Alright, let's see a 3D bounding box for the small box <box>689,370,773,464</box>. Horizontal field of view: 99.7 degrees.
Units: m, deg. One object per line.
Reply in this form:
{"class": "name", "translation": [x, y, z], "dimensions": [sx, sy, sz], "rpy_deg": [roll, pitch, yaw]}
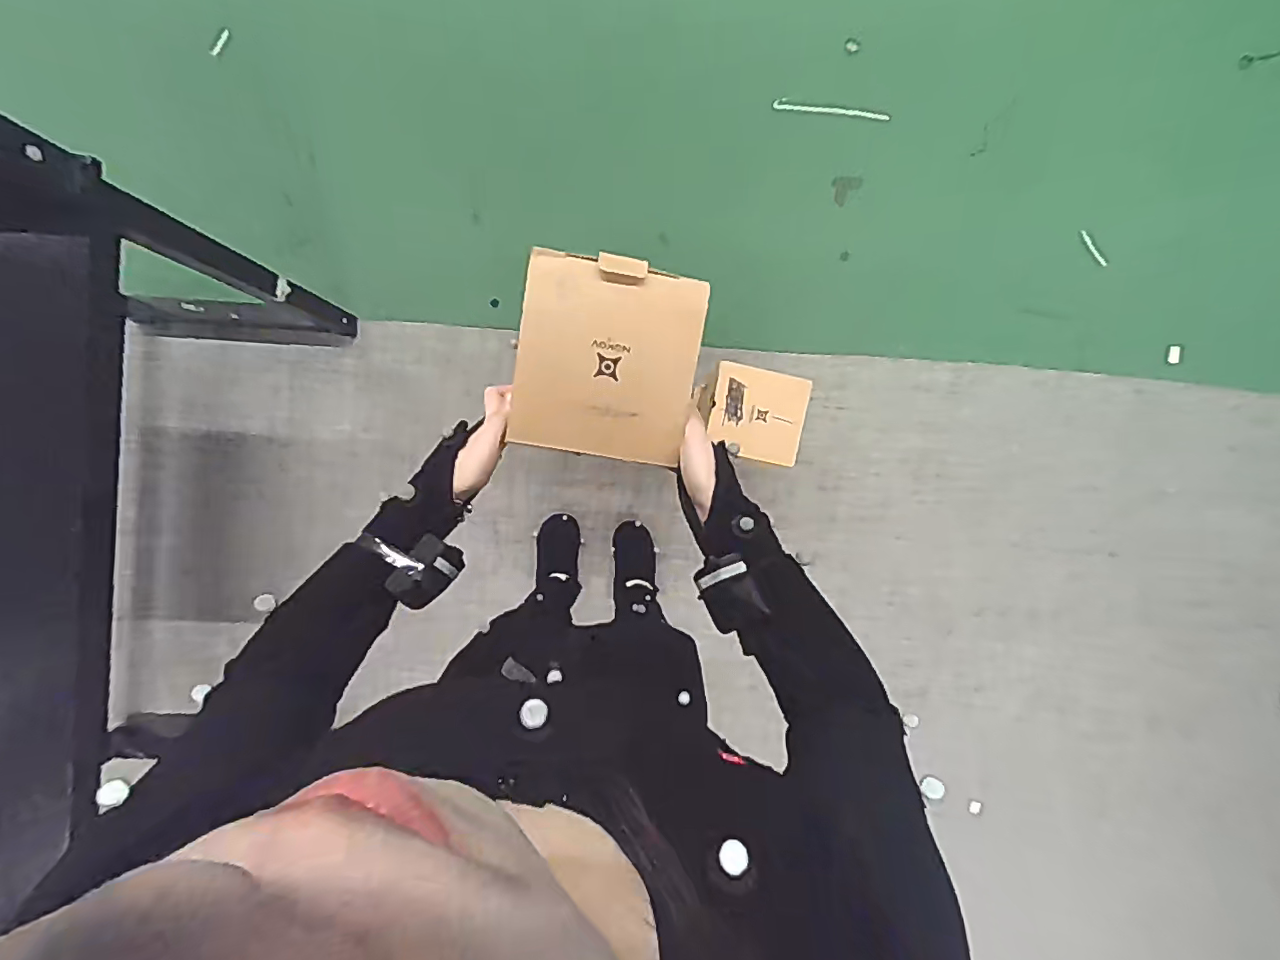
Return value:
{"class": "small box", "translation": [0.217, -0.135, 1.213], "dimensions": [0.179, 0.176, 0.168], "rpy_deg": [15, 93, -2]}

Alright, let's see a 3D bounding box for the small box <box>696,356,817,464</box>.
{"class": "small box", "translation": [0.214, -0.128, 1.050], "dimensions": [0.179, 0.176, 0.168], "rpy_deg": [12, 92, -2]}

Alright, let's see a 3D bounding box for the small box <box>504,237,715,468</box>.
{"class": "small box", "translation": [-0.036, -0.121, 0.553], "dimensions": [0.168, 0.176, 0.179], "rpy_deg": [9, 100, -8]}
